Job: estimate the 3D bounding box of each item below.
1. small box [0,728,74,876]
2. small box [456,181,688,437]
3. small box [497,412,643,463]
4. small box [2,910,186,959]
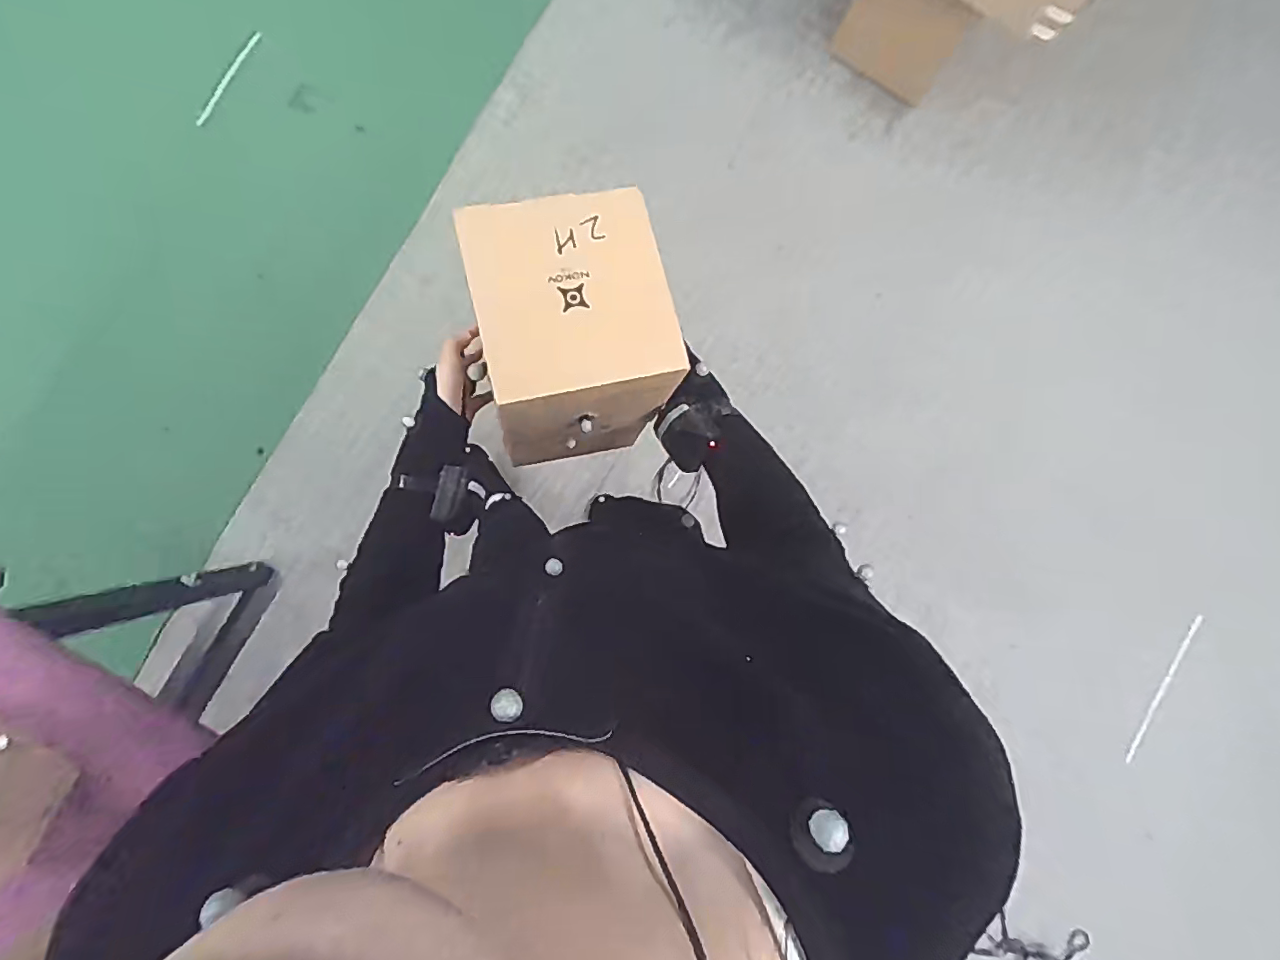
[{"bbox_3d":[-0.886,0.427,0.661,0.179,0.176,0.168,31,89,-1],"label":"small box"},{"bbox_3d":[-0.067,-0.148,0.521,0.168,0.176,0.179,-11,81,-12],"label":"small box"},{"bbox_3d":[-0.092,-0.127,0.683,0.179,0.176,0.168,-10,81,-12],"label":"small box"},{"bbox_3d":[-0.567,0.557,0.499,0.179,0.176,0.168,31,89,-1],"label":"small box"}]
